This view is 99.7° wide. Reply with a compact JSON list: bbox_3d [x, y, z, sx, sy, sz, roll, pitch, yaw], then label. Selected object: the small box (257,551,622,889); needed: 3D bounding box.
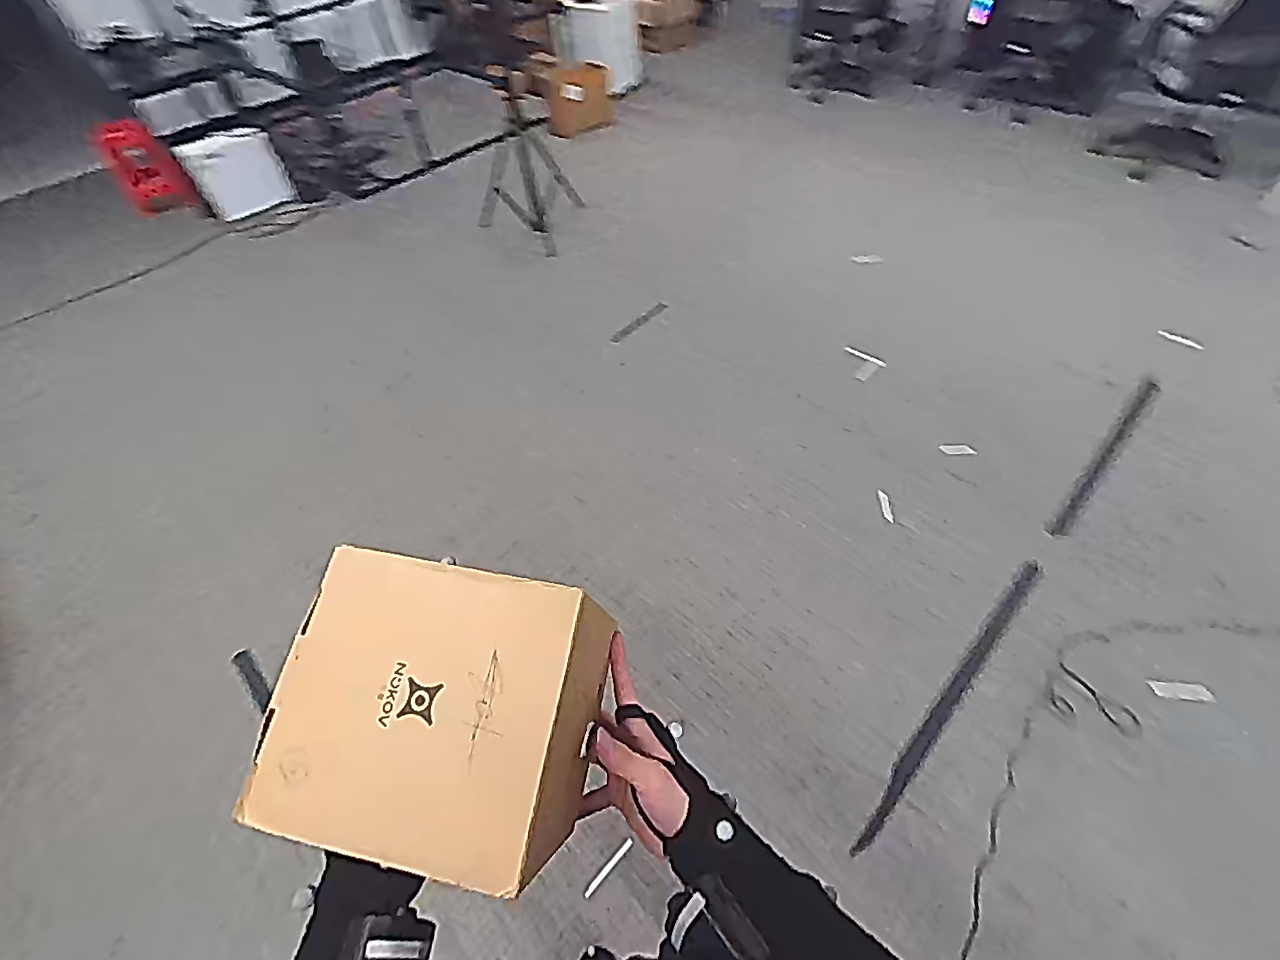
[{"bbox_3d":[-0.121,0.164,0.407,0.179,0.176,0.168,9,71,8],"label":"small box"}]
